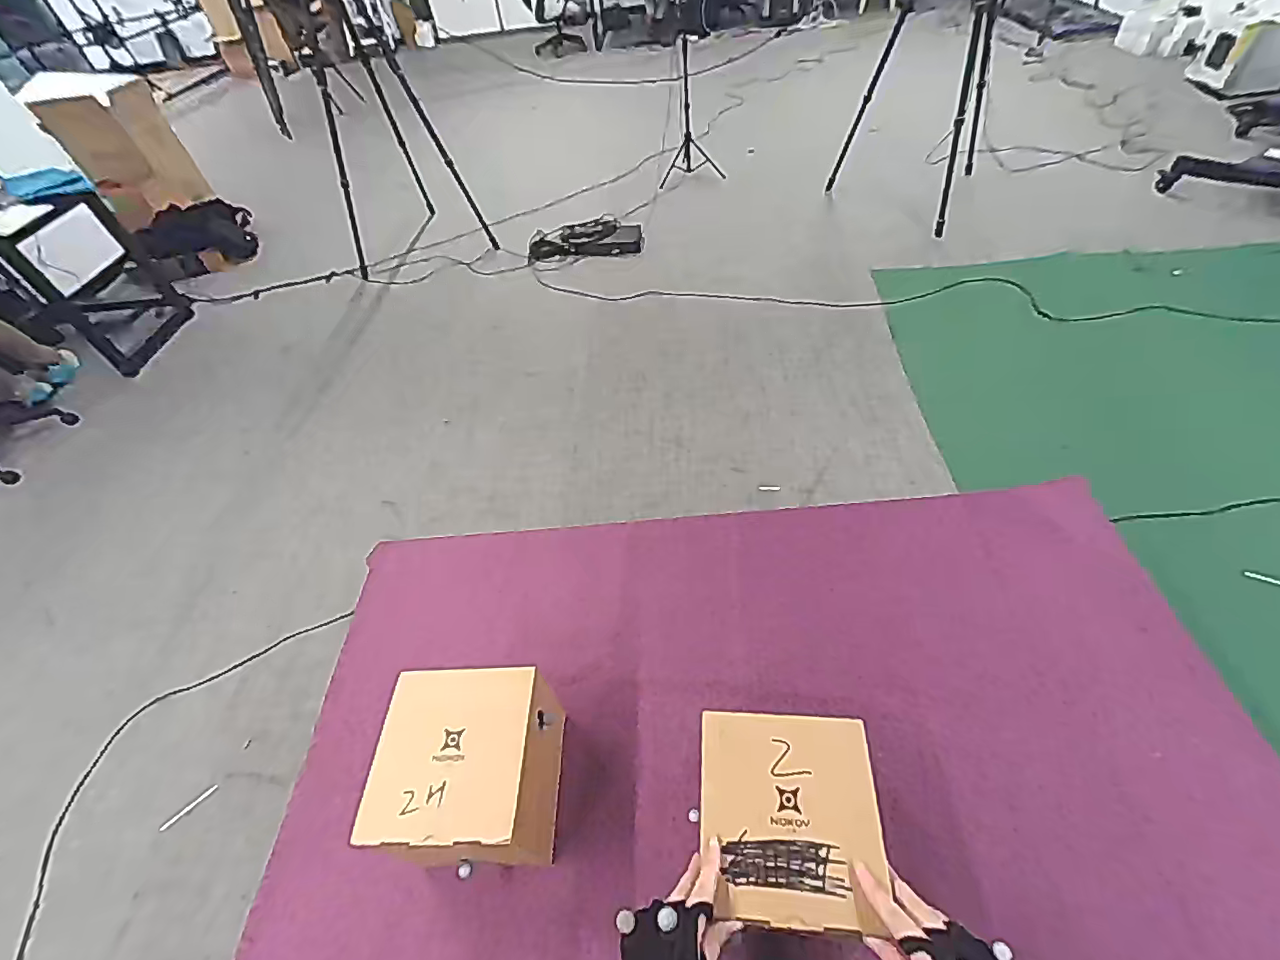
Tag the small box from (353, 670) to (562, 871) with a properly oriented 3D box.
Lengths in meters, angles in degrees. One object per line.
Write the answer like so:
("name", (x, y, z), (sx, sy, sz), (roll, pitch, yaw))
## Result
("small box", (-0.192, 0.342, 0.635), (0.168, 0.176, 0.179), (-4, 49, 5))
